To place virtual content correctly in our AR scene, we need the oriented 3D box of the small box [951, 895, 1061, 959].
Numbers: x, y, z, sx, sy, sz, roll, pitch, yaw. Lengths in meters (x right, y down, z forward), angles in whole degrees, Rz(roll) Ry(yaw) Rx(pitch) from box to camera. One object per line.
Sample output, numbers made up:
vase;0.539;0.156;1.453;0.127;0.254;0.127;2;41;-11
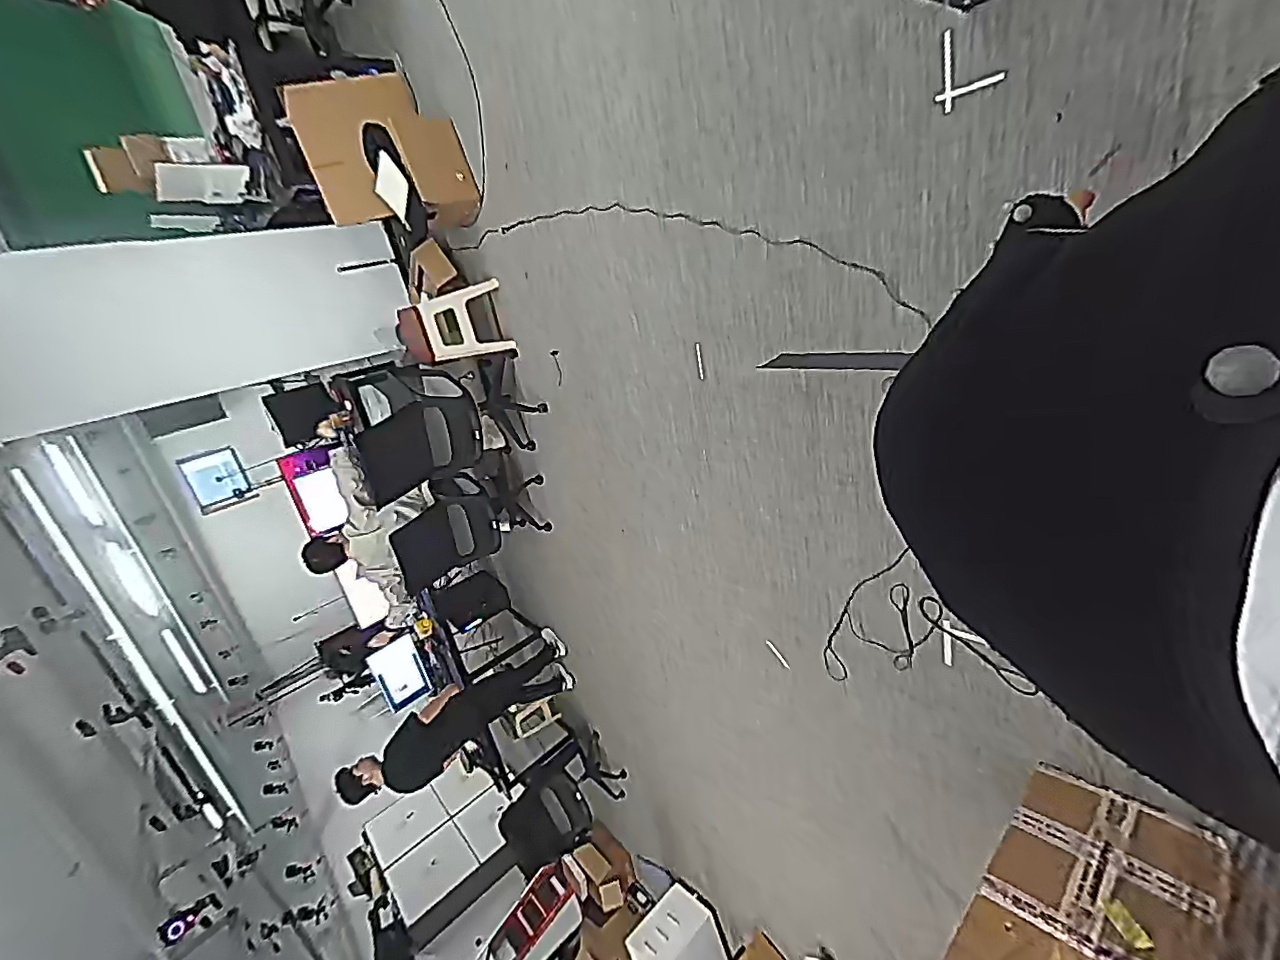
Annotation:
small box;0.888;1.162;1.308;0.179;0.176;0.168;3;111;53
